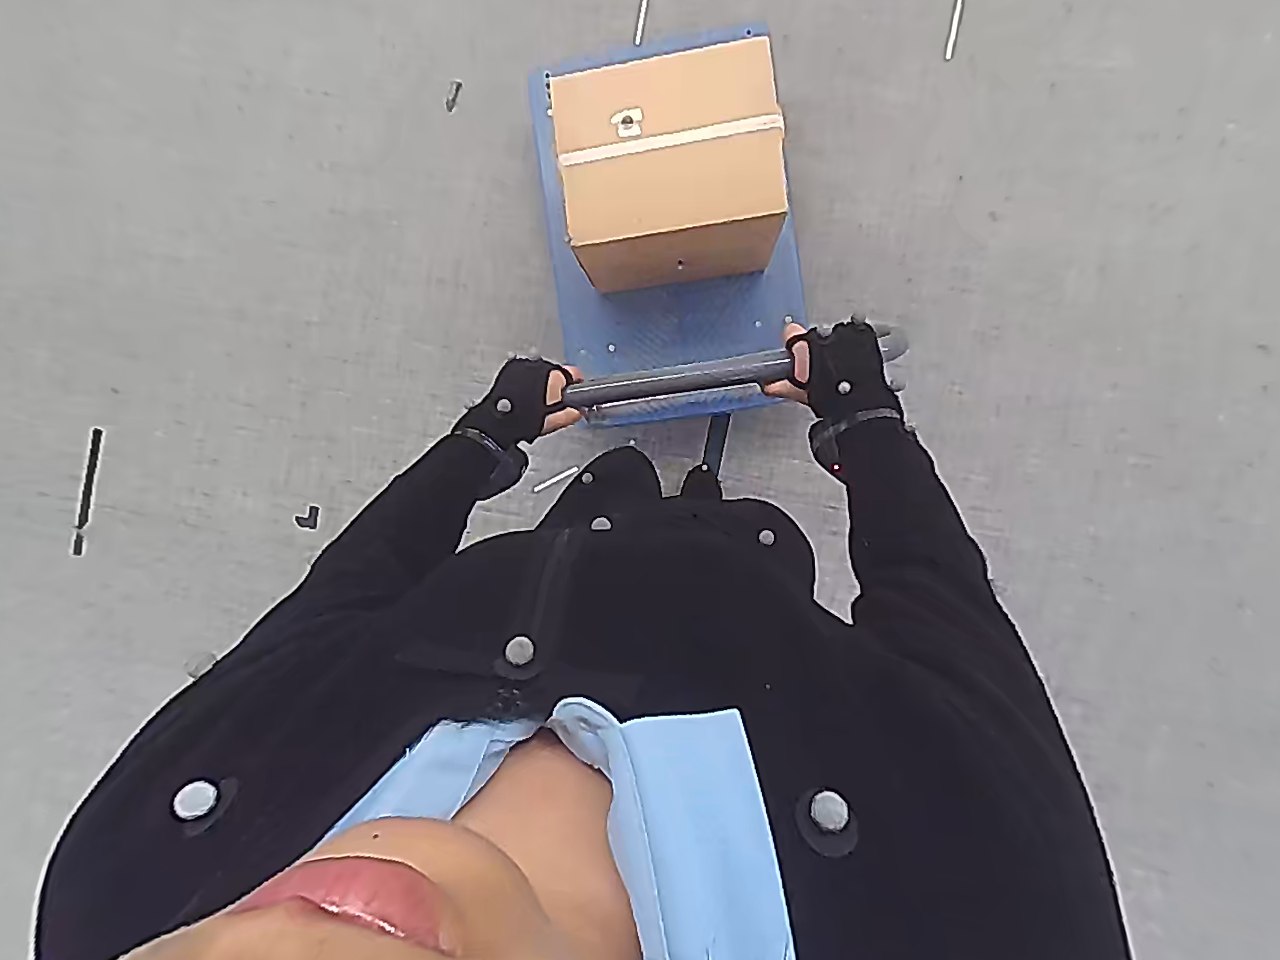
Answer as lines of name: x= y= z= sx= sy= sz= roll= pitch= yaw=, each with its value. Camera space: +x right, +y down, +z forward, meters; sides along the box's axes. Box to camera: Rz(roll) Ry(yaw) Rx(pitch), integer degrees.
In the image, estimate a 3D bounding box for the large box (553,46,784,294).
large box: x=0.067 y=-0.619 z=1.153 sx=0.408 sy=0.320 sz=0.320 roll=-7 pitch=91 yaw=7
